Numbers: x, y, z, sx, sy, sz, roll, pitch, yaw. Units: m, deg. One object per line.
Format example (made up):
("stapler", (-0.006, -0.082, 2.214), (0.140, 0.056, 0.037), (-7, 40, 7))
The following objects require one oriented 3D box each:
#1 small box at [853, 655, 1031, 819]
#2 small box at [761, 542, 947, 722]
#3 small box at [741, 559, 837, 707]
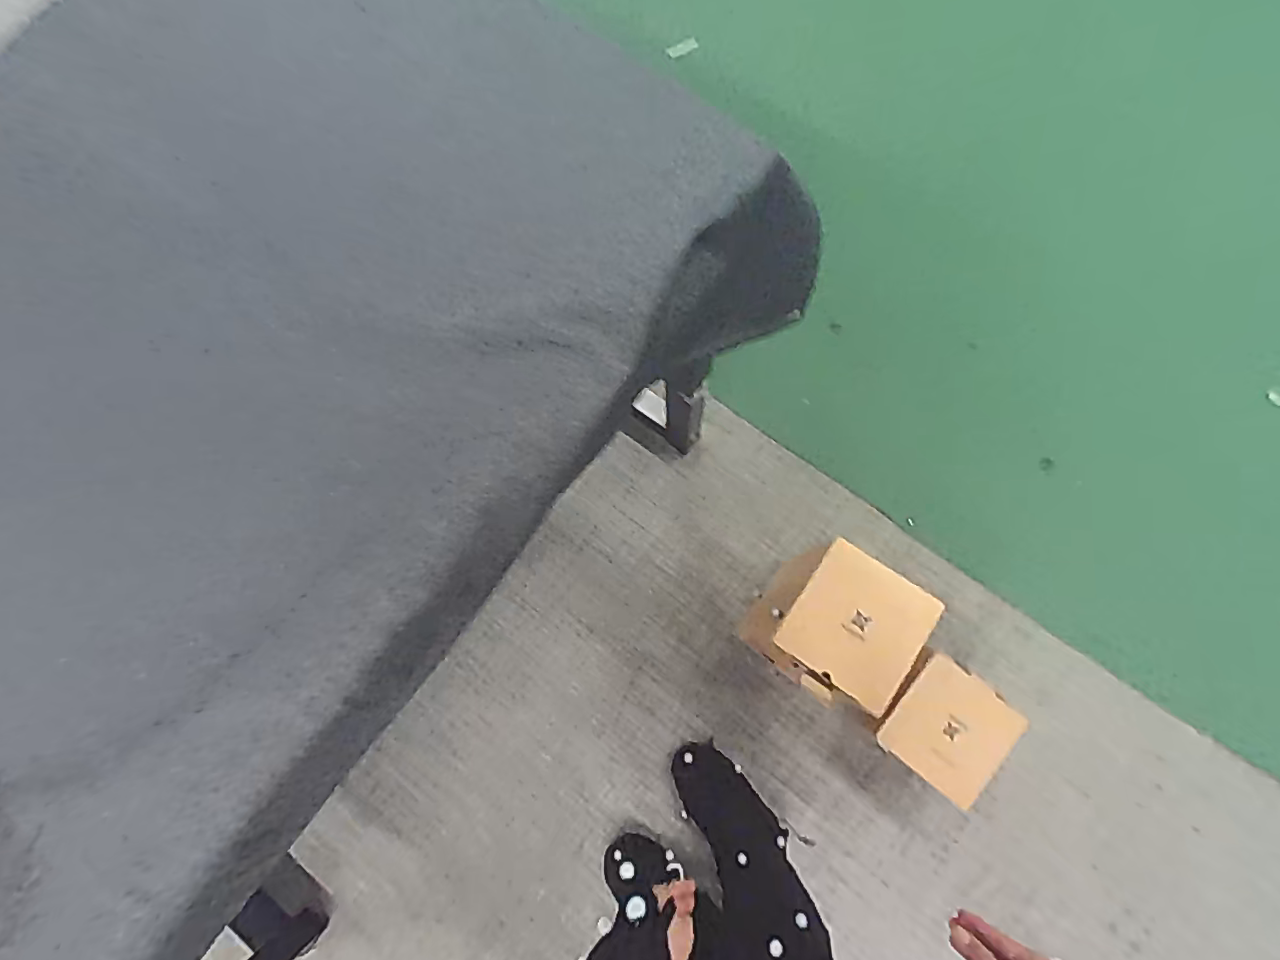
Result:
("small box", (0.489, 0.408, 0.907), (0.168, 0.176, 0.179), (38, 84, 11))
("small box", (0.296, 0.213, 0.792), (0.168, 0.176, 0.179), (34, 81, 9))
("small box", (0.292, 0.263, 0.949), (0.168, 0.176, 0.179), (35, 82, 11))
